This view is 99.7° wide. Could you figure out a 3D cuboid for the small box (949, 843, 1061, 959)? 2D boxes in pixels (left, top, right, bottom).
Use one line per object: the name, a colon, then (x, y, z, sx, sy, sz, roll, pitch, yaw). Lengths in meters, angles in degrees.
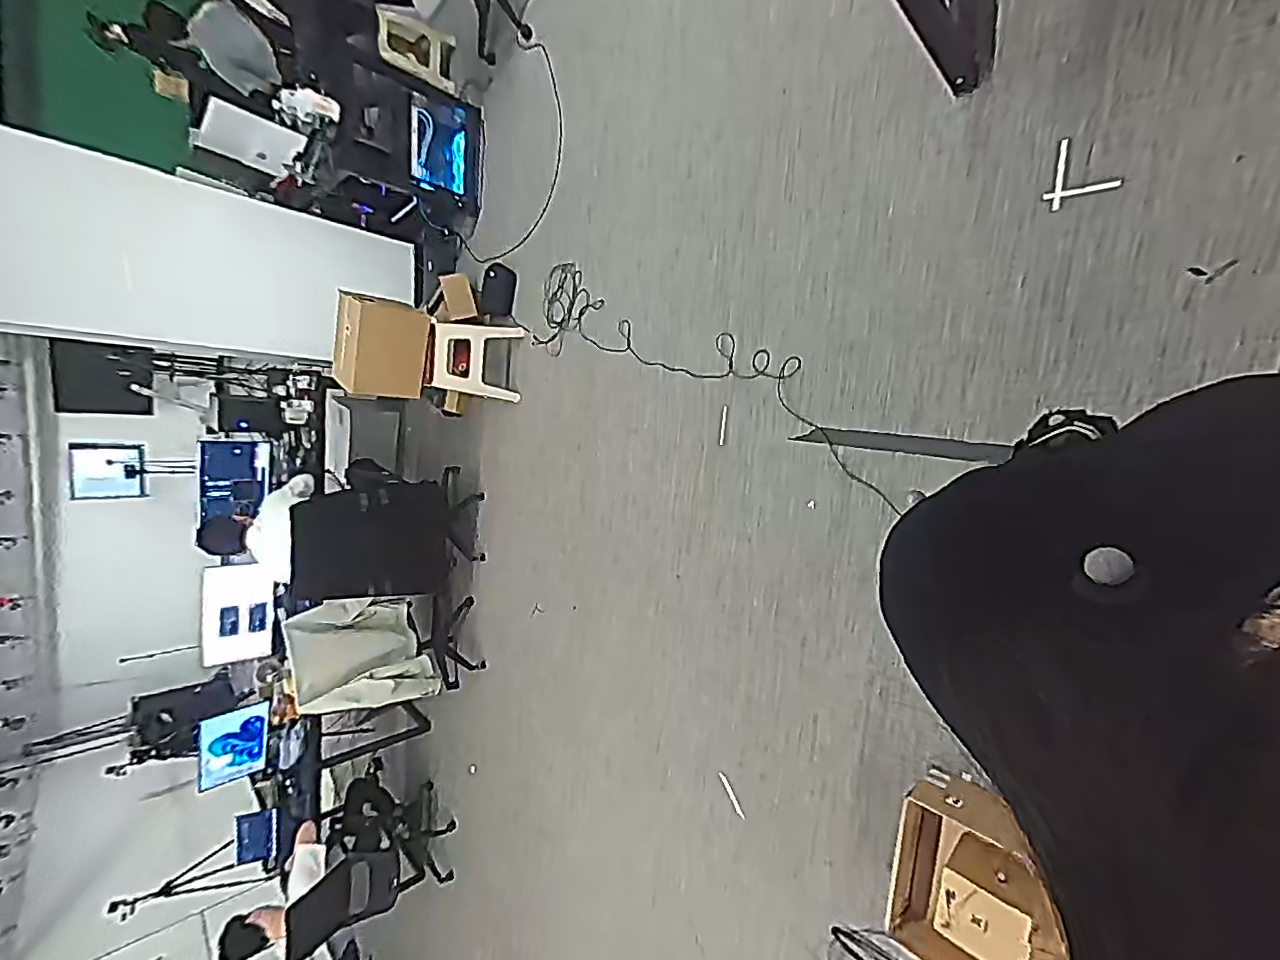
small box: (0.837, 0.983, 1.236, 0.179, 0.176, 0.168, 12, 99, 44)
